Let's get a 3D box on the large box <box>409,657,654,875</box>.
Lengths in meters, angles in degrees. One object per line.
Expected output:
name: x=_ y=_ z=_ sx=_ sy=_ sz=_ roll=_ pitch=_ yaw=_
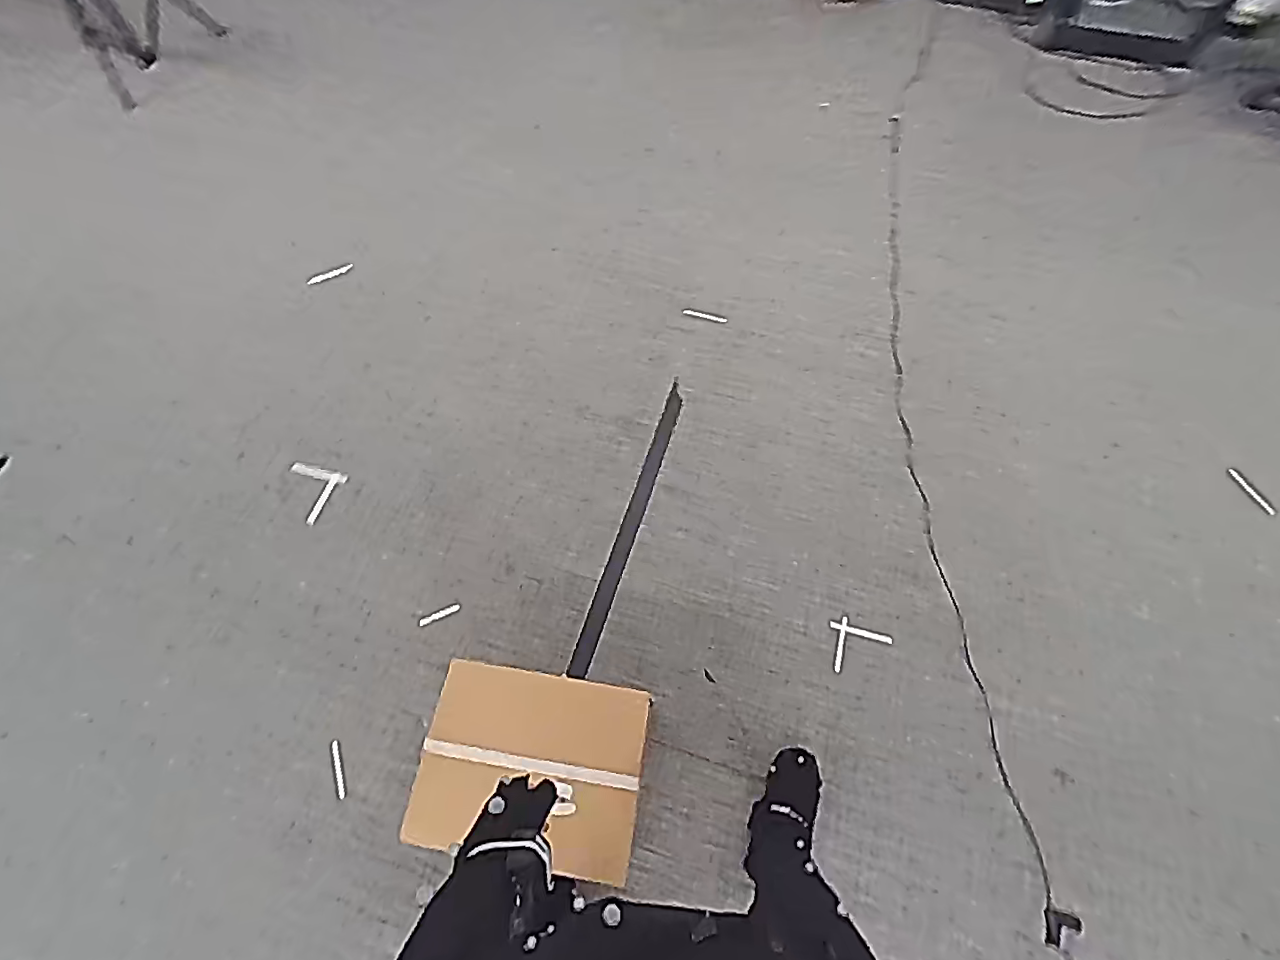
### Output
large box: x=-0.192 y=0.580 z=1.136 sx=0.408 sy=0.320 sz=0.320 roll=8 pitch=66 yaw=4
